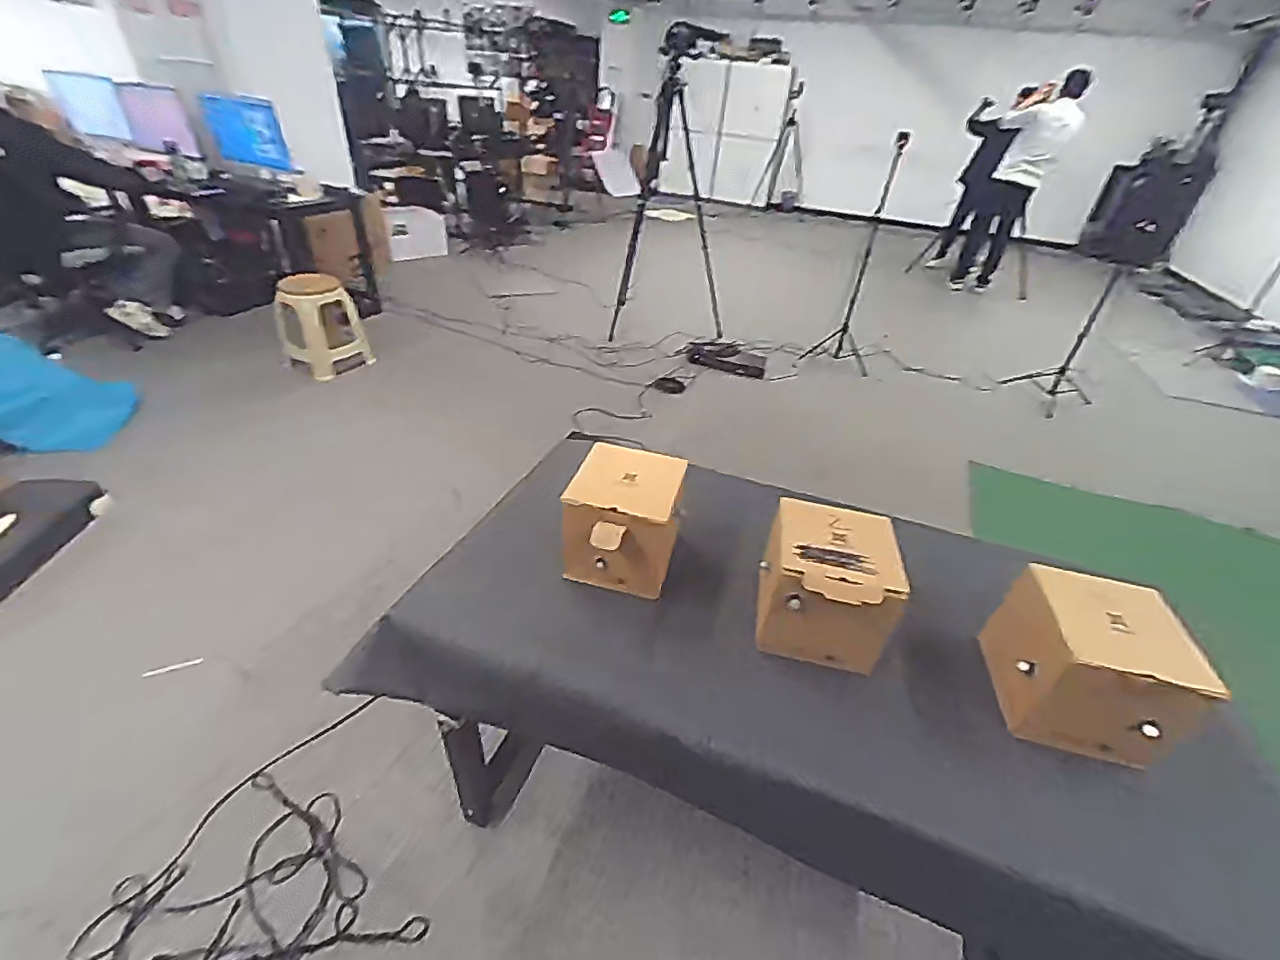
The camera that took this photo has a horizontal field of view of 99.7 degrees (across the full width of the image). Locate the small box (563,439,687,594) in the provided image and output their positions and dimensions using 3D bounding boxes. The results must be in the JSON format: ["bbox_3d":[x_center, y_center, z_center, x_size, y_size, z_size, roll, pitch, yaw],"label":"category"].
[{"bbox_3d":[-0.026,0.058,0.904,0.168,0.176,0.179,12,36,8],"label":"small box"}]

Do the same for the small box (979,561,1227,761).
[{"bbox_3d":[0.598,0.243,0.733,0.168,0.176,0.179,13,35,8],"label":"small box"}]
